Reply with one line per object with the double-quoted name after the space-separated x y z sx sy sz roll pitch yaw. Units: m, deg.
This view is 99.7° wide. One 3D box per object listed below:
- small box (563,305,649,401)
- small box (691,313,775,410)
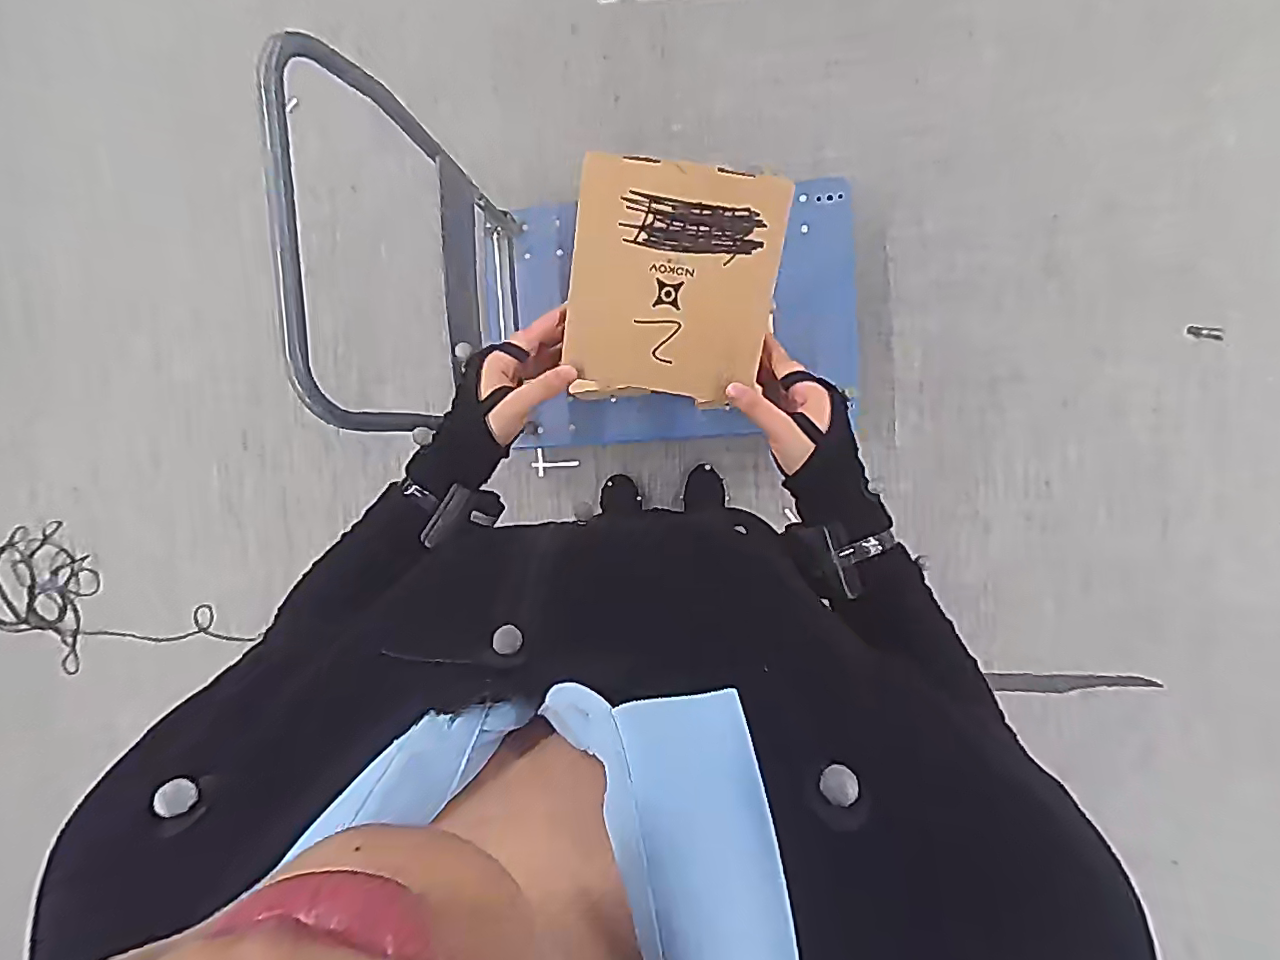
-0.072 -0.279 1.218 0.168 0.176 0.179 -4 93 6 "small box"
0.200 -0.255 1.198 0.168 0.176 0.179 -3 93 5 "small box"
